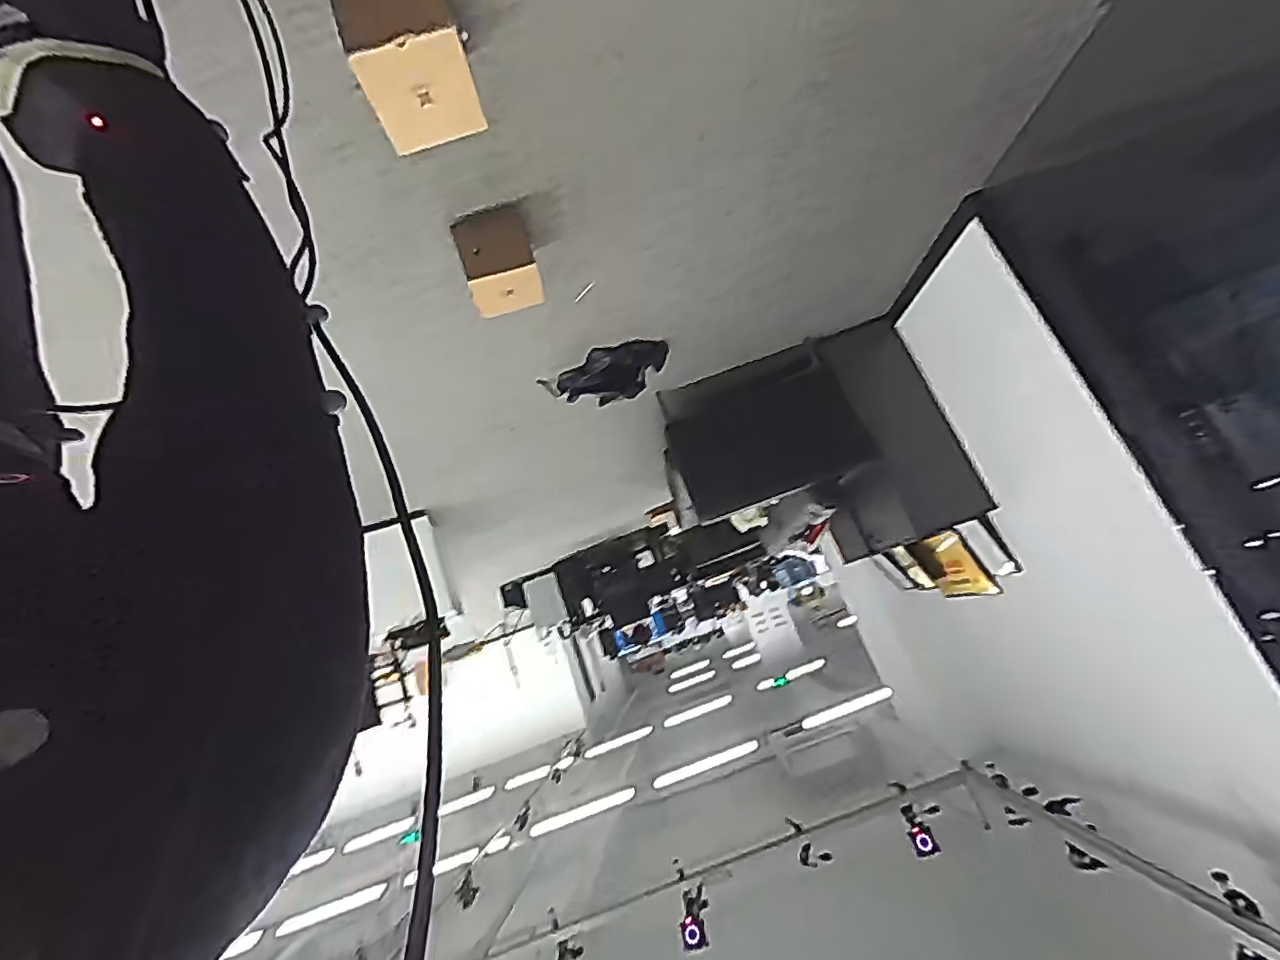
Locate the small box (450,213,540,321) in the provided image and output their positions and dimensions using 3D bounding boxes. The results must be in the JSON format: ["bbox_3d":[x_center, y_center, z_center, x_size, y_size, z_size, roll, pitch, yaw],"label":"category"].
[{"bbox_3d":[-0.372,-0.545,1.384,0.179,0.176,0.168,-20,167,-8],"label":"small box"}]

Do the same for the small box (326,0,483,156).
[{"bbox_3d":[-0.377,-0.682,0.880,0.168,0.176,0.179,-20,165,-4],"label":"small box"}]
